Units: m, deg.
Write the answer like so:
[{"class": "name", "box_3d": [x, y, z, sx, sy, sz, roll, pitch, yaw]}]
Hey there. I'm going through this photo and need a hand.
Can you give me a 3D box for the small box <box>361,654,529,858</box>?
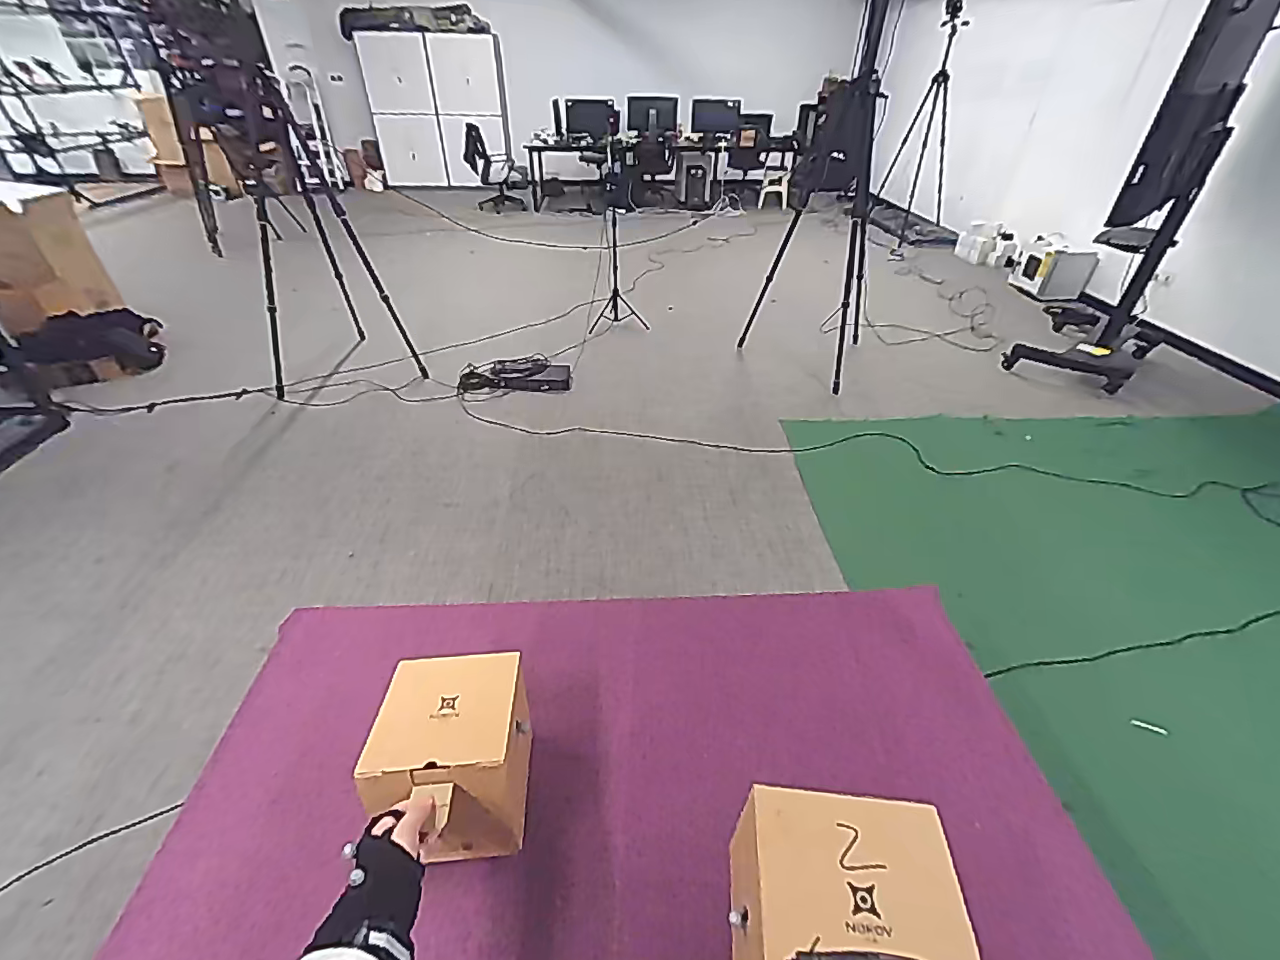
[{"class": "small box", "box_3d": [-0.242, 0.360, 0.722, 0.168, 0.176, 0.179, -3, 26, -5]}]
